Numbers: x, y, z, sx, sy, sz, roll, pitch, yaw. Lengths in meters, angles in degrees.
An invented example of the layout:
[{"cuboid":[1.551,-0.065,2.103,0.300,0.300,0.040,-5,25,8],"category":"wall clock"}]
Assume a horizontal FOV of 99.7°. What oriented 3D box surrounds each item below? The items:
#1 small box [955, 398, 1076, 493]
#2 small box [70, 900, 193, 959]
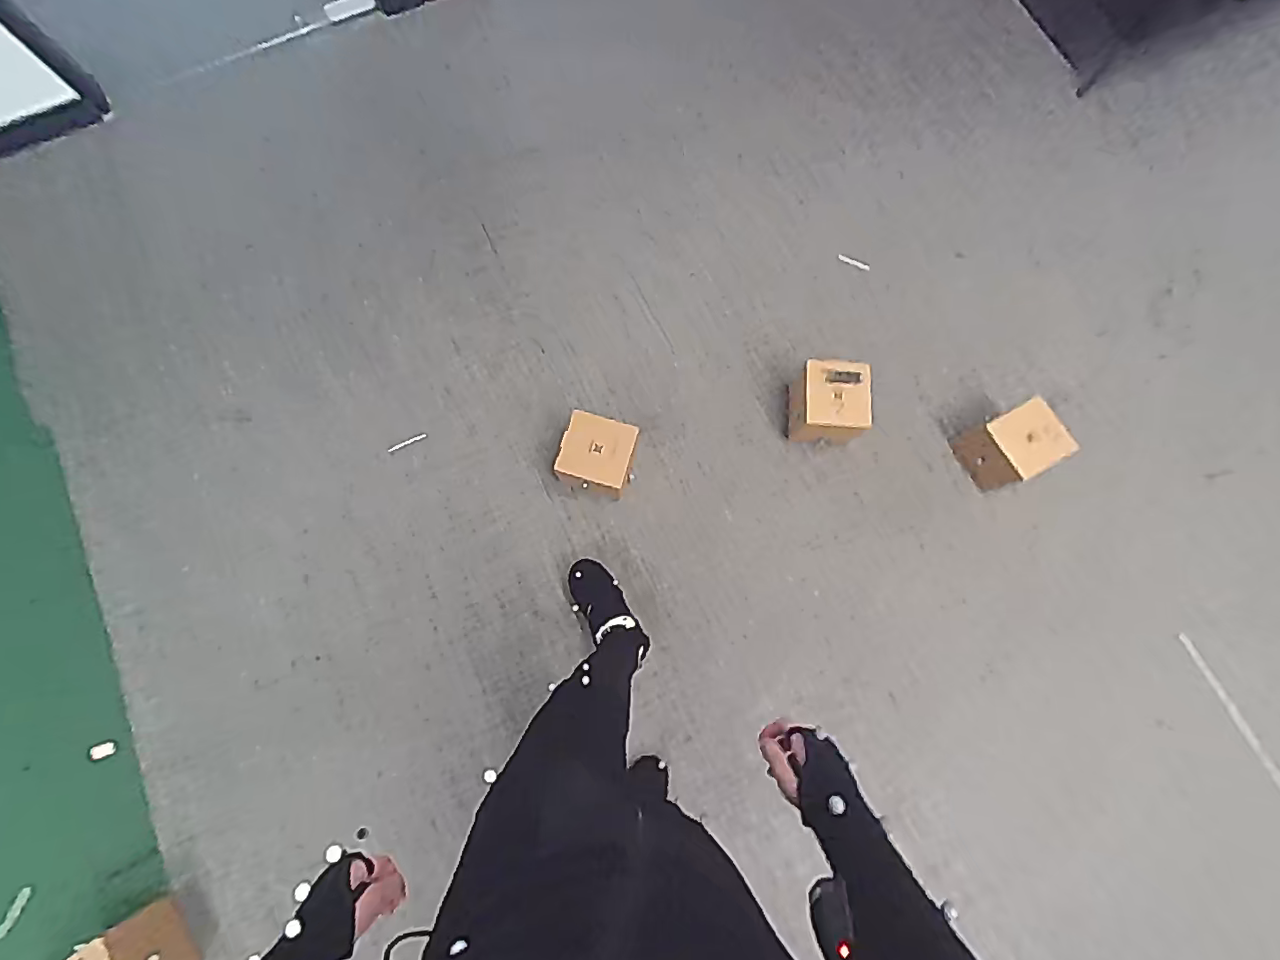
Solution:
[{"cuboid":[0.977,-0.083,1.431,0.179,0.176,0.168,-28,80,-7],"category":"small box"},{"cuboid":[-1.118,1.065,1.157,0.168,0.176,0.179,-36,80,-8],"category":"small box"}]
